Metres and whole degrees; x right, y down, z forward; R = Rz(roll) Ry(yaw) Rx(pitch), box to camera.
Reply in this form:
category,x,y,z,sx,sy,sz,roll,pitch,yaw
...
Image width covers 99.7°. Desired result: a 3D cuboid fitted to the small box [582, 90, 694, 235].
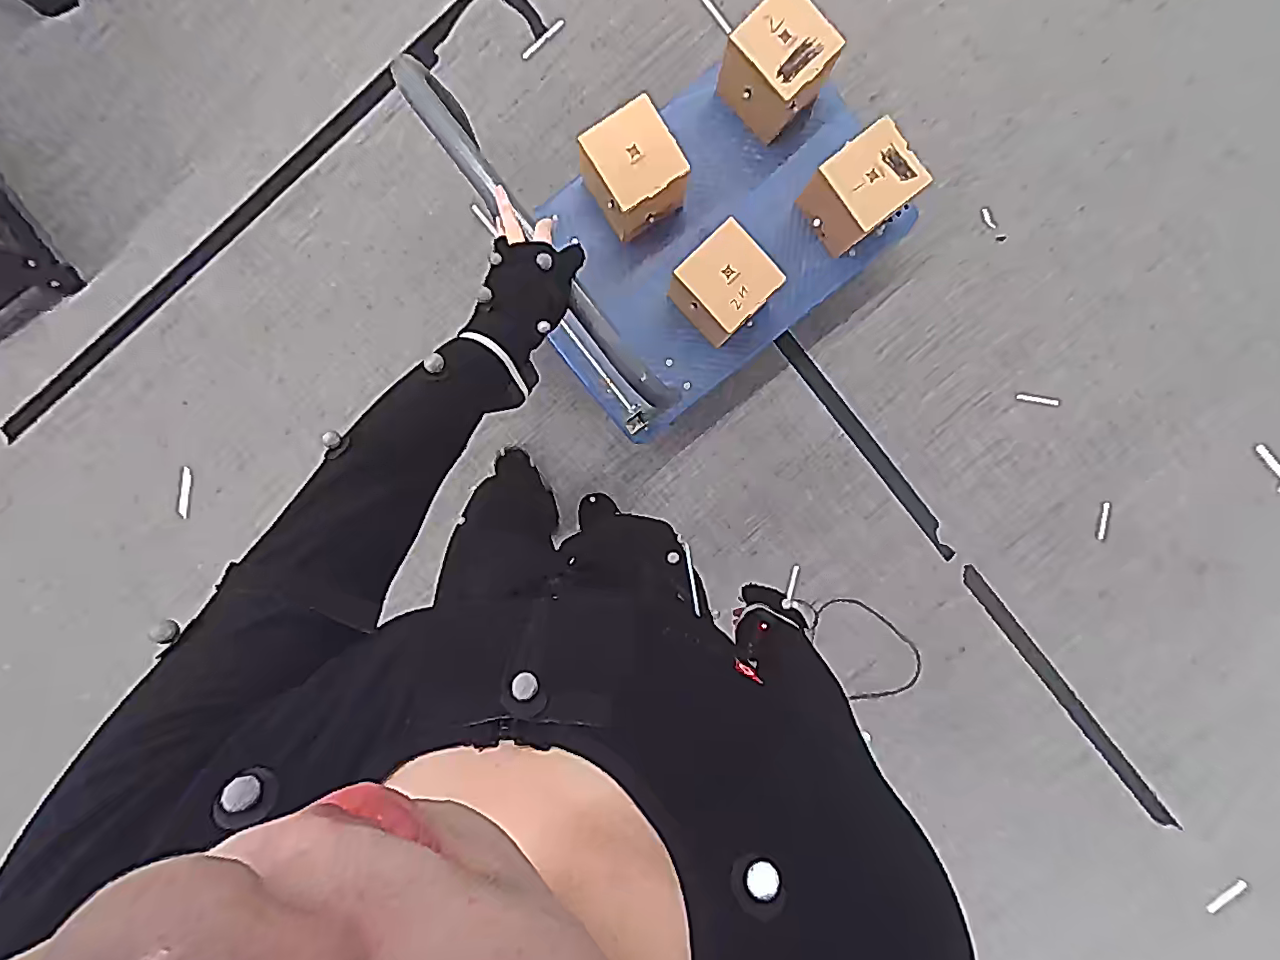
category,x,y,z,sx,sy,sz,roll,pitch,yaw
small box,-0.009,-0.667,1.159,0.168,0.176,0.179,-33,96,0

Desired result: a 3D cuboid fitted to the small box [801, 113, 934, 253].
category,x,y,z,sx,sy,sz,roll,pitch,yaw
small box,0.482,-0.632,1.174,0.179,0.176,0.168,-37,94,3

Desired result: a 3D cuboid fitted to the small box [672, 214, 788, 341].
category,x,y,z,sx,sy,sz,roll,pitch,yaw
small box,0.185,-0.429,1.182,0.168,0.176,0.179,-43,94,2
